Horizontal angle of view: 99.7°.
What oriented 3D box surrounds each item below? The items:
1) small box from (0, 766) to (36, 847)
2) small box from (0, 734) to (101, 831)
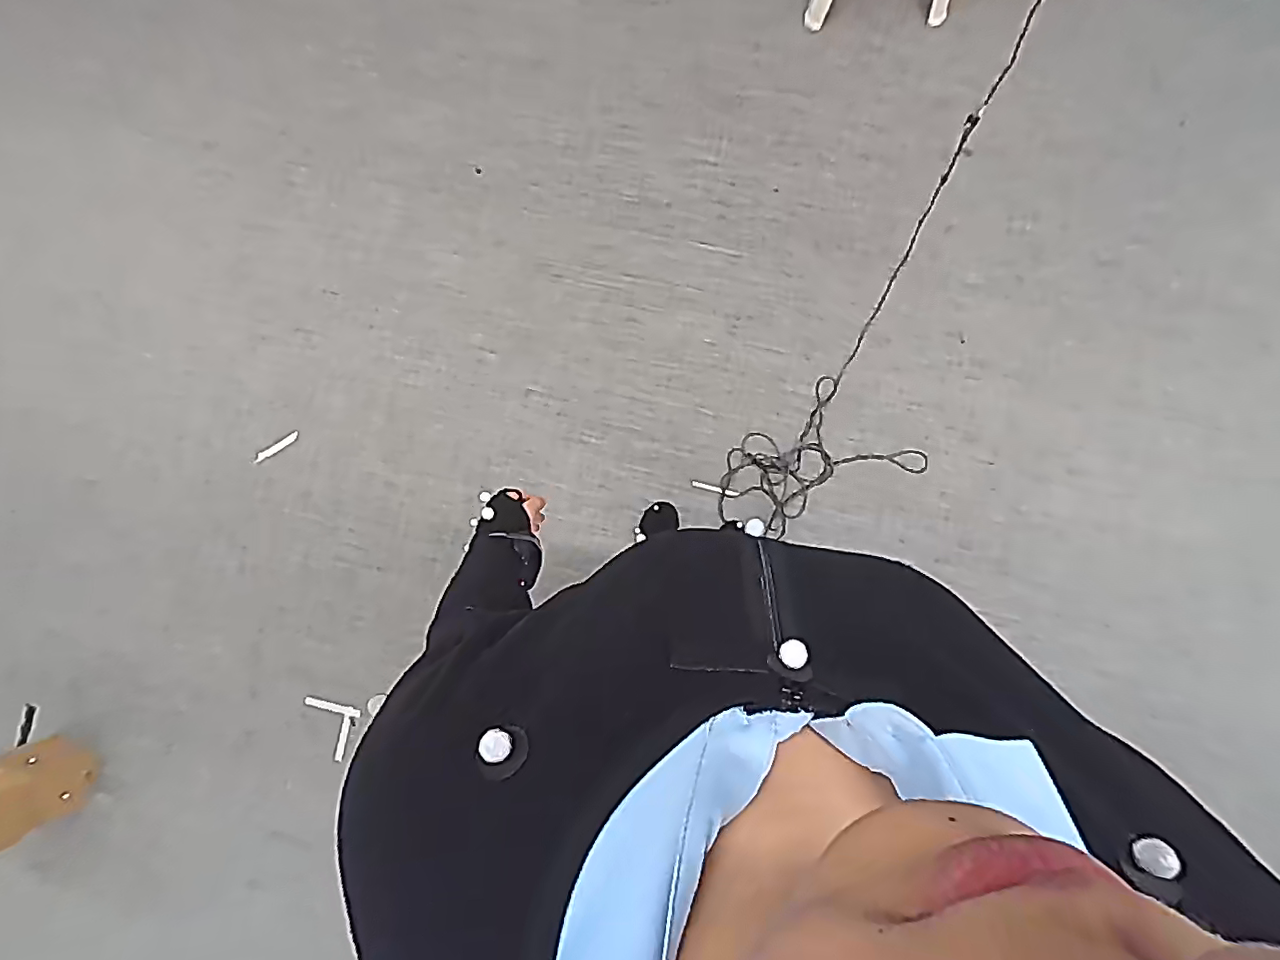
[{"bbox_3d":[-1.731,0.860,1.391,0.168,0.176,0.179,8,88,5],"label":"small box"},{"bbox_3d":[-1.725,0.860,1.554,0.179,0.176,0.168,17,88,6],"label":"small box"}]
